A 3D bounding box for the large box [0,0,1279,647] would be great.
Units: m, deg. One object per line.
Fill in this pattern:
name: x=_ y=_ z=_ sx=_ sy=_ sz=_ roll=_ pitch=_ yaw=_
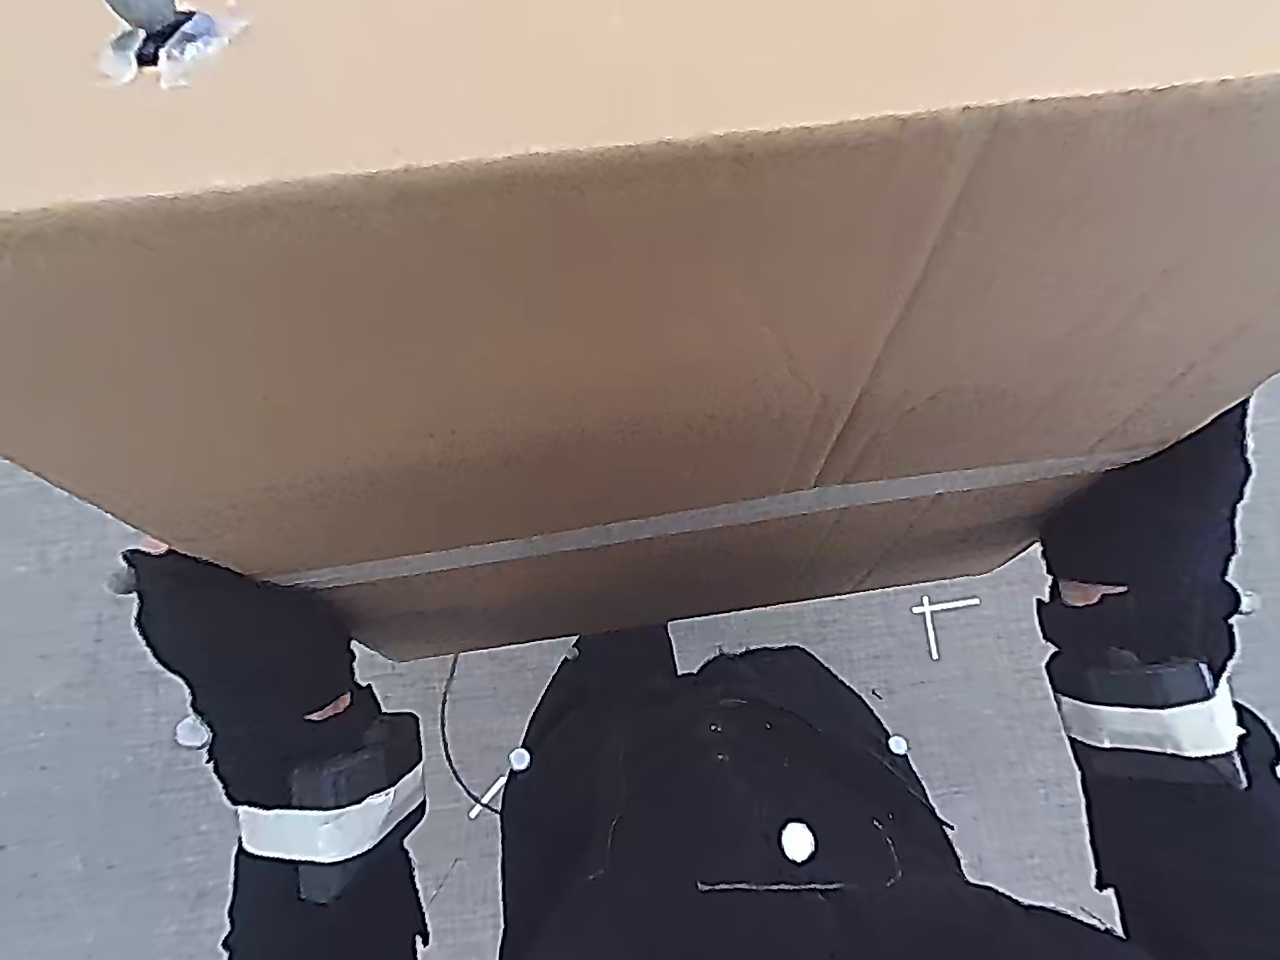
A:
large box: x=0.014 y=-0.121 z=0.320 sx=0.408 sy=0.320 sz=0.320 roll=-8 pitch=60 yaw=-3
